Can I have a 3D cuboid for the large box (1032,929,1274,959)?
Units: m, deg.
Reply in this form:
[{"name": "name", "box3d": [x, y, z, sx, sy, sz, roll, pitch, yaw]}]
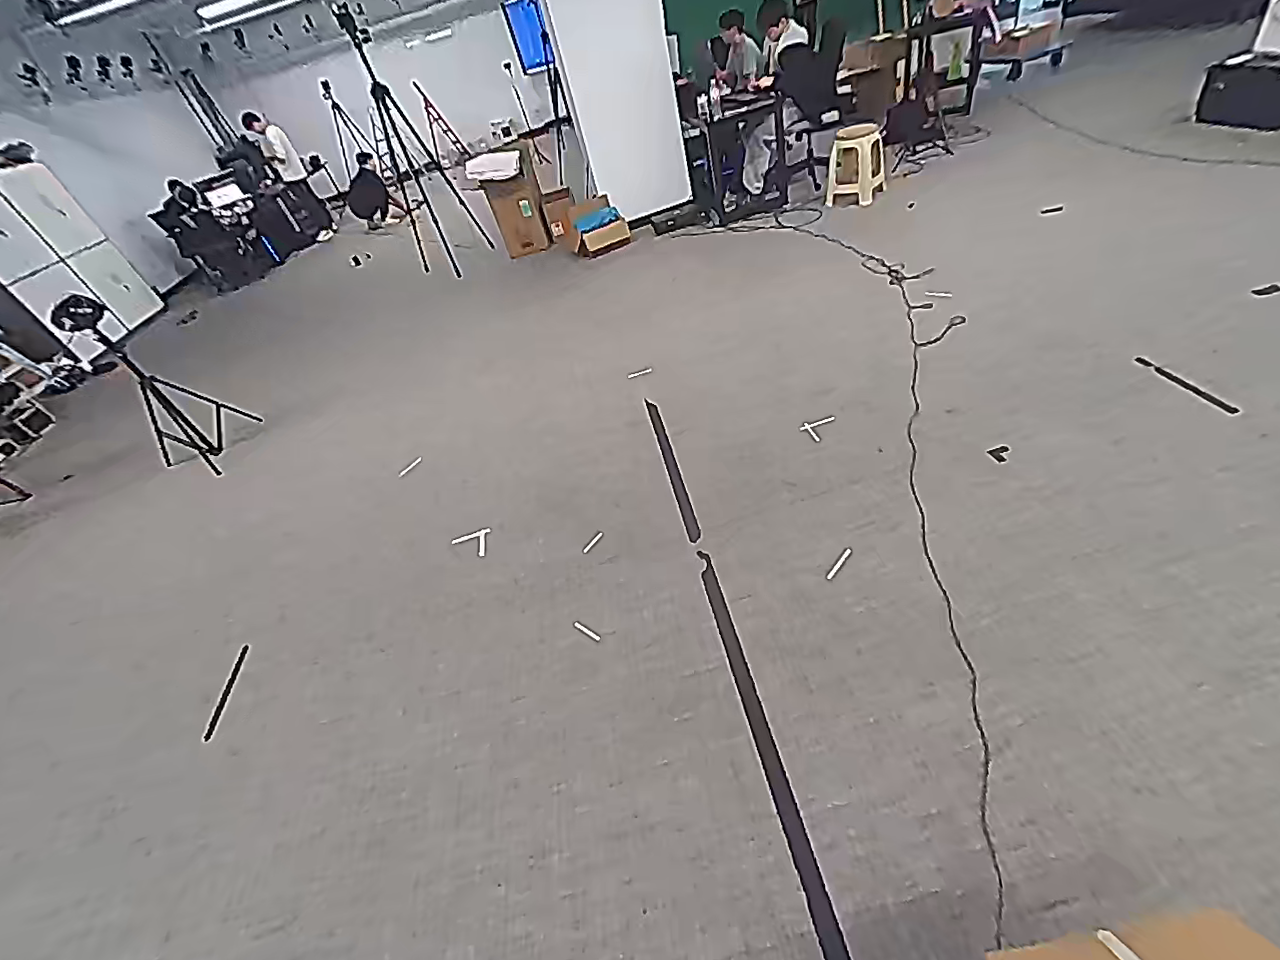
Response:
[{"name": "large box", "box3d": [0.629, 0.730, 0.492, 0.320, 0.408, 0.320, -16, 80, 4]}]
